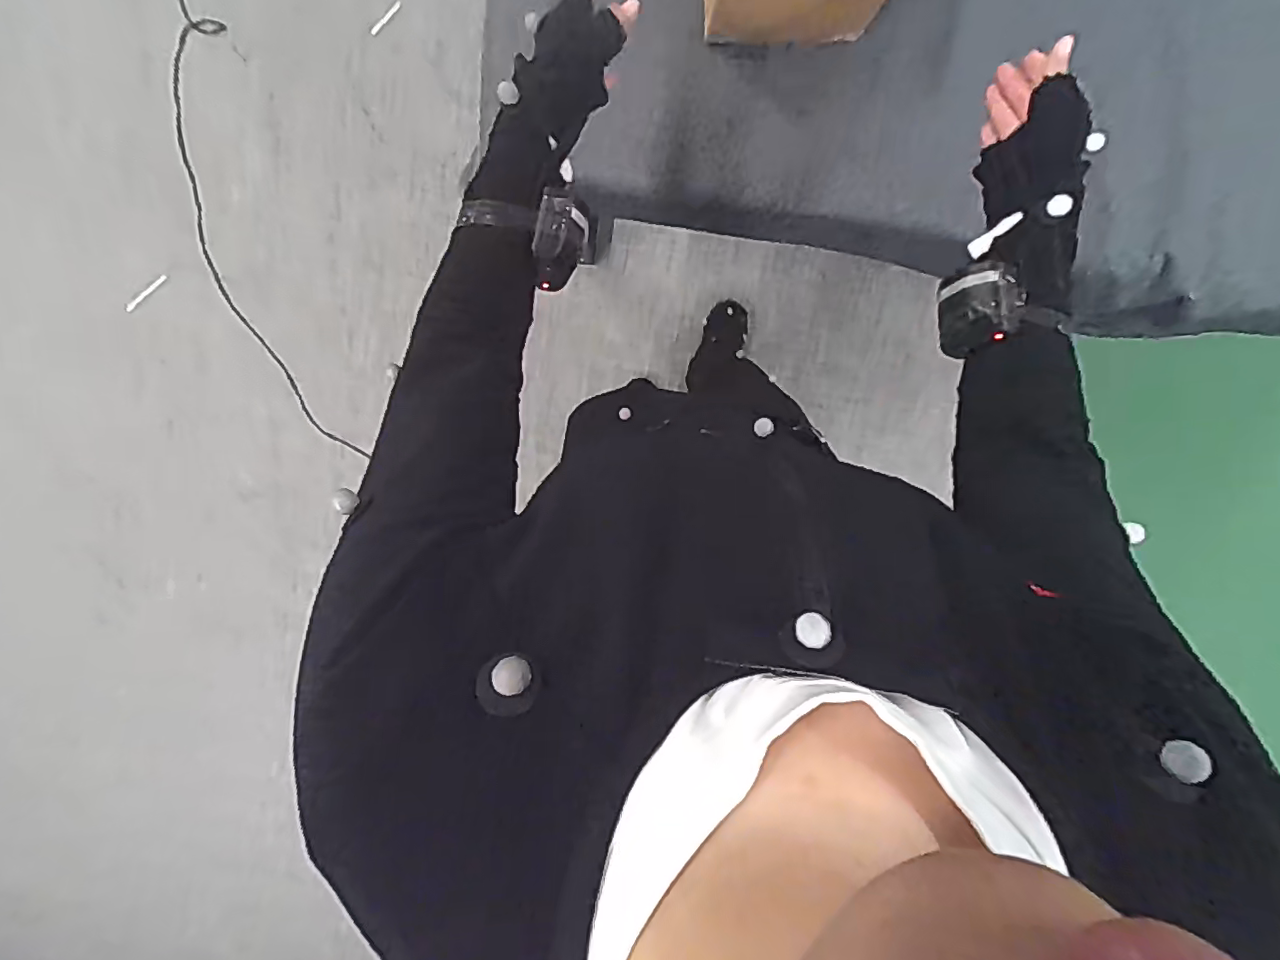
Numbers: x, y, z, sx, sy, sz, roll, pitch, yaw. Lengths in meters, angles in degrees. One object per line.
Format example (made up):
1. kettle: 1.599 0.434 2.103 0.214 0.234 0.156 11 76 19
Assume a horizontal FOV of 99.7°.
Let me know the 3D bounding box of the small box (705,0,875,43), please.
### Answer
1. small box: 0.158 -0.559 0.522 0.179 0.176 0.168 -1 104 -2
